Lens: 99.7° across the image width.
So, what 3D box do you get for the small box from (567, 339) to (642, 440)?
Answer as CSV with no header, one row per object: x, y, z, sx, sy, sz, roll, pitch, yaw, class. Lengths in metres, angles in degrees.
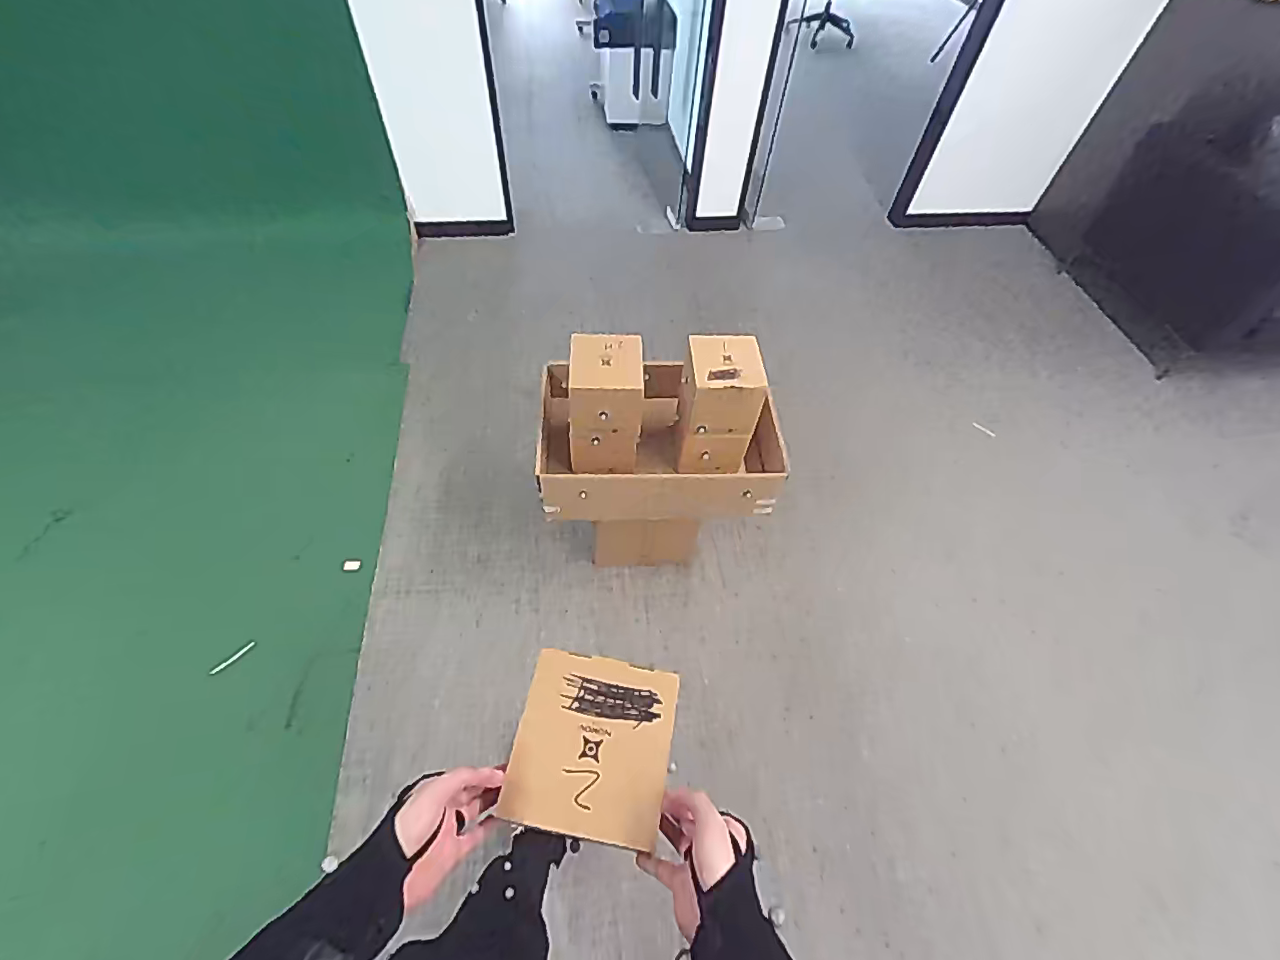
-0.082,-0.210,1.281,0.168,0.176,0.179,1,55,-4,small box

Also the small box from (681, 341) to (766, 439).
0.193,-0.214,1.305,0.168,0.176,0.179,0,54,-4,small box

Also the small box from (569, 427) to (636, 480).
-0.095,-0.122,1.419,0.168,0.176,0.179,1,54,-2,small box

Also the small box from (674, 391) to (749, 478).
0.183,-0.117,1.438,0.168,0.176,0.179,0,54,-4,small box
